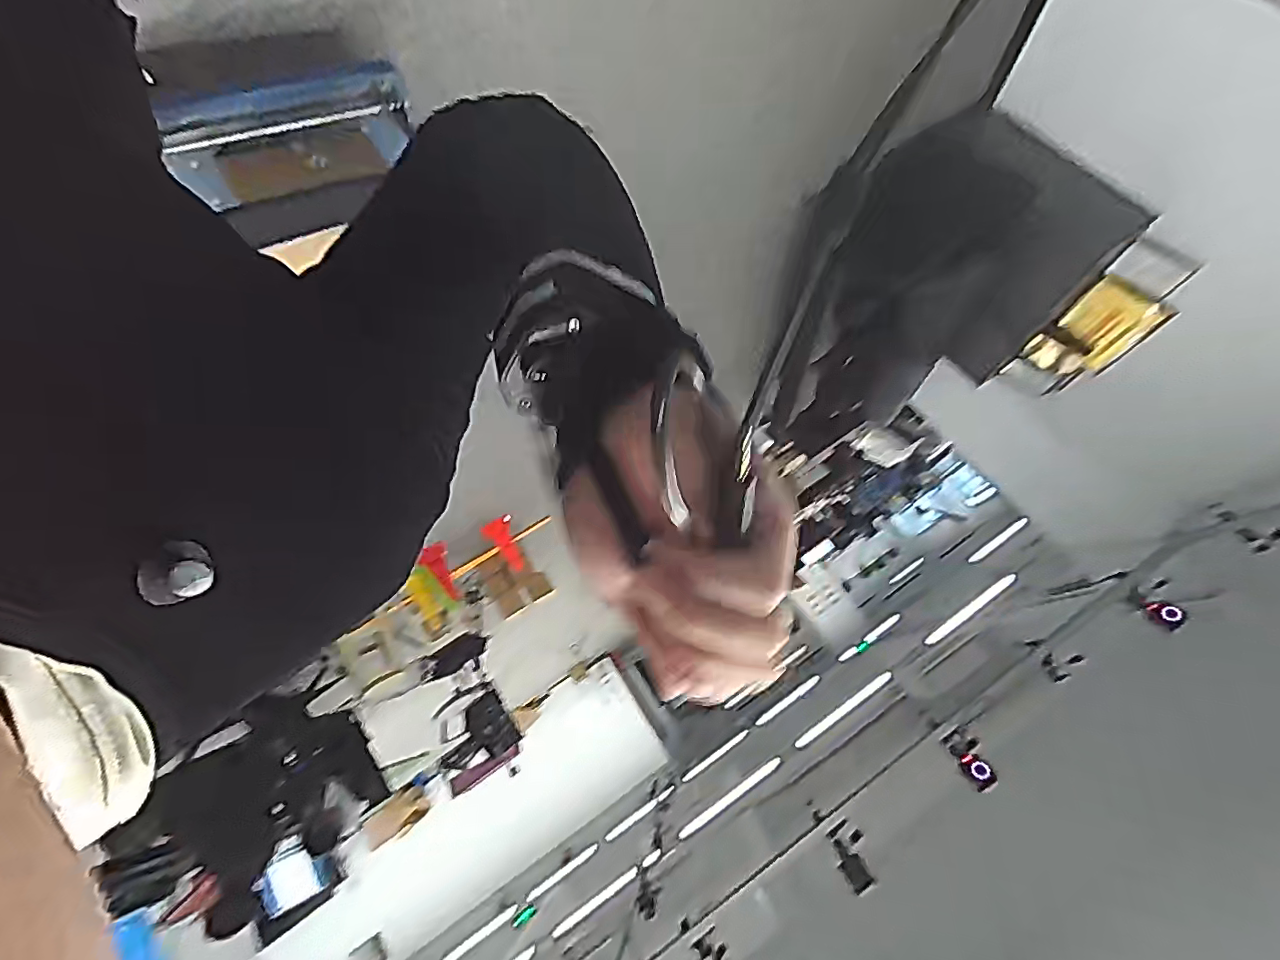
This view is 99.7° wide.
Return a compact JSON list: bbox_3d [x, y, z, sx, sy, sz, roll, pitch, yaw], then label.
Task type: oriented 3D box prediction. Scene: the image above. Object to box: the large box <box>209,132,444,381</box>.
[{"bbox_3d":[-0.715,-0.522,1.292,0.320,0.320,0.408,-28,159,-23],"label":"large box"}]
